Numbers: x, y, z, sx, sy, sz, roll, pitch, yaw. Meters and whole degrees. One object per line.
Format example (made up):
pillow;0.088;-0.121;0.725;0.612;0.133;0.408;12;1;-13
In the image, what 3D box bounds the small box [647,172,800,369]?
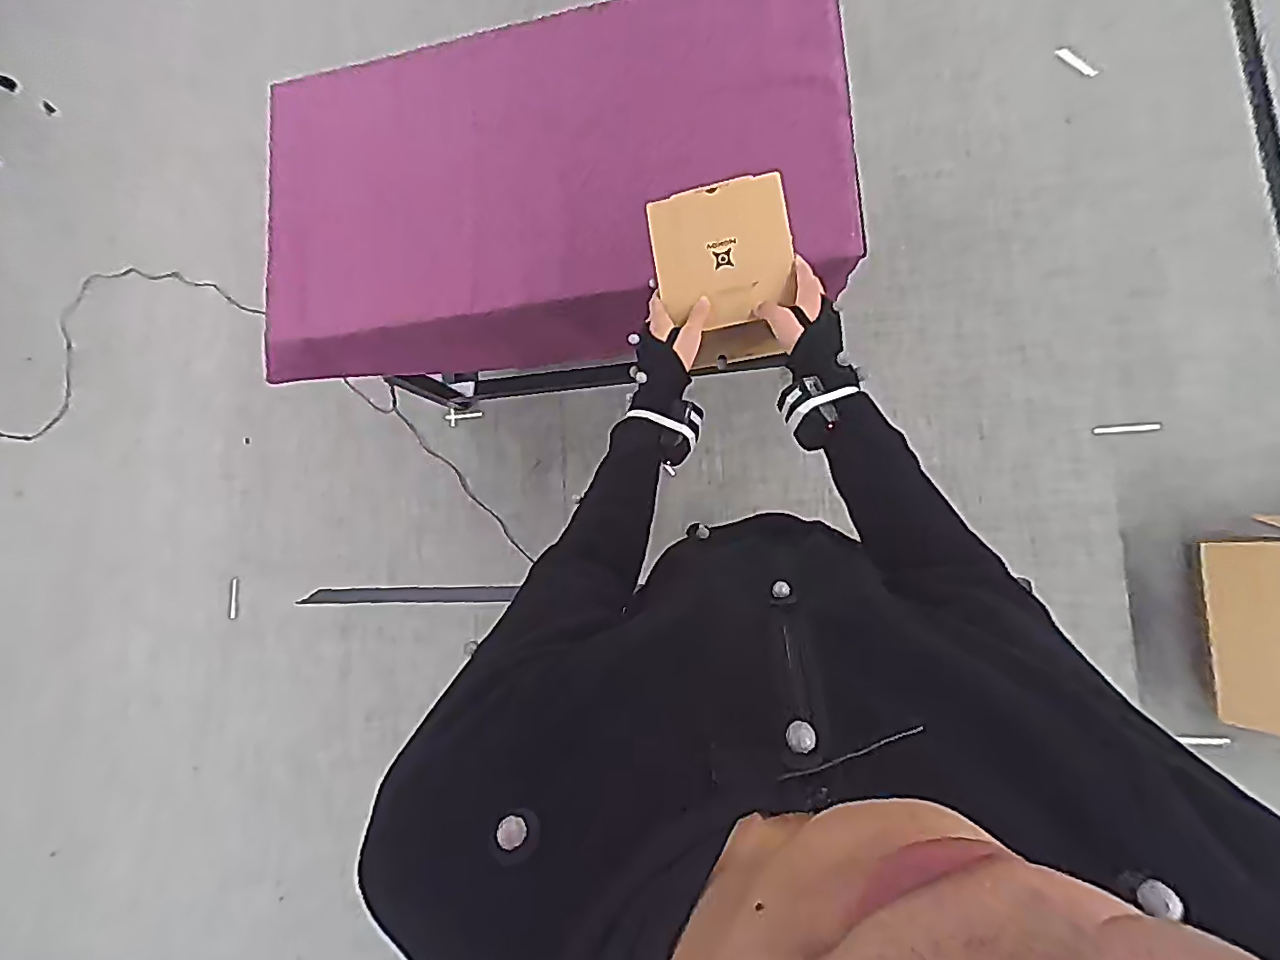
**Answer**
small box;0.110;-0.268;0.730;0.168;0.176;0.179;-9;85;9
